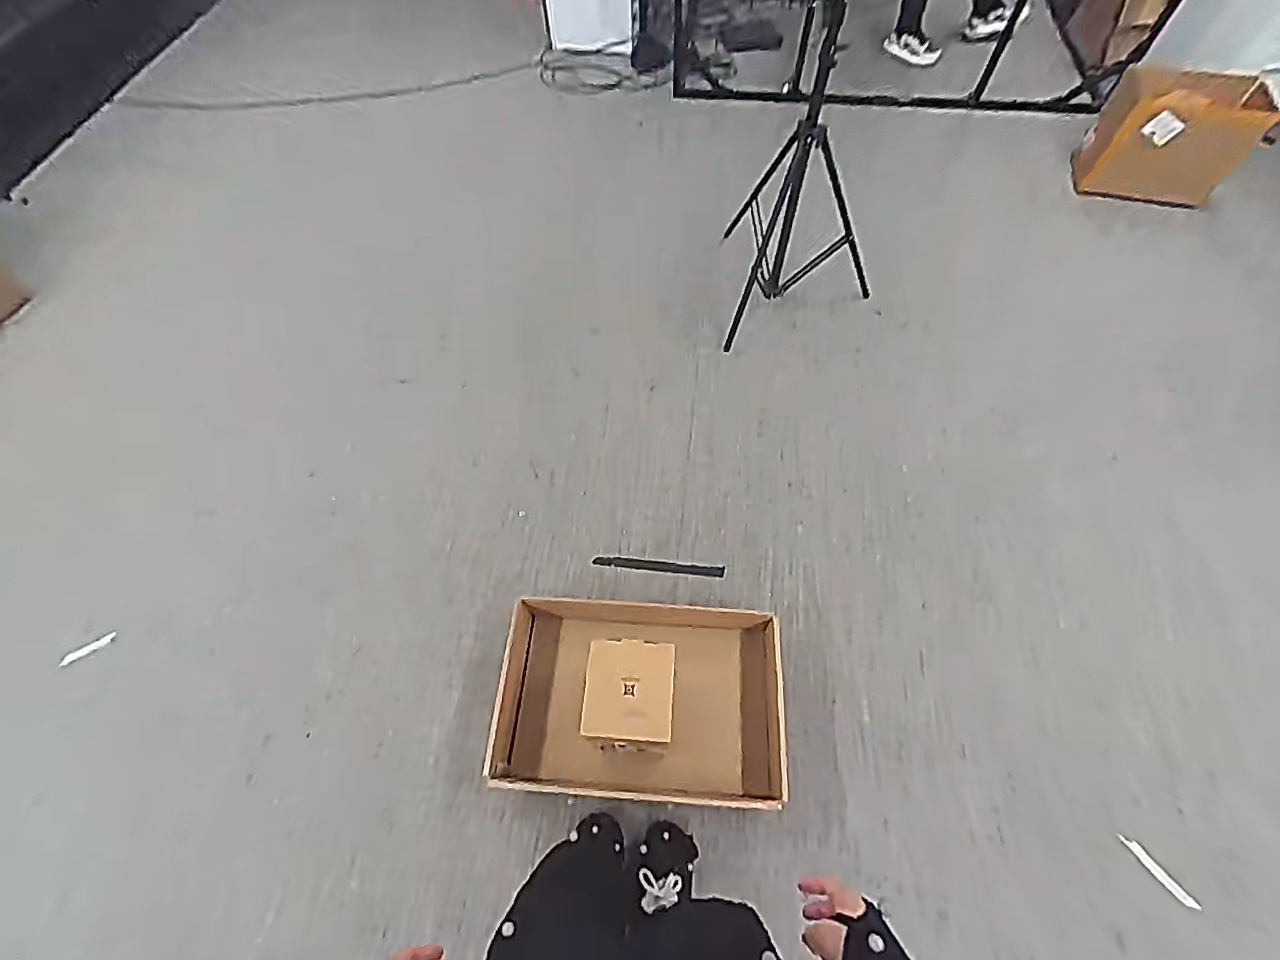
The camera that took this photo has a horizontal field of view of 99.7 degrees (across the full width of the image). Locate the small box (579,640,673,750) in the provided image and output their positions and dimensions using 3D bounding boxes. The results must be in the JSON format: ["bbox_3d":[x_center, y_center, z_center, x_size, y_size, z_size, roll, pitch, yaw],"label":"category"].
[{"bbox_3d":[-0.021,0.430,1.077,0.168,0.176,0.179,2,61,3],"label":"small box"}]
